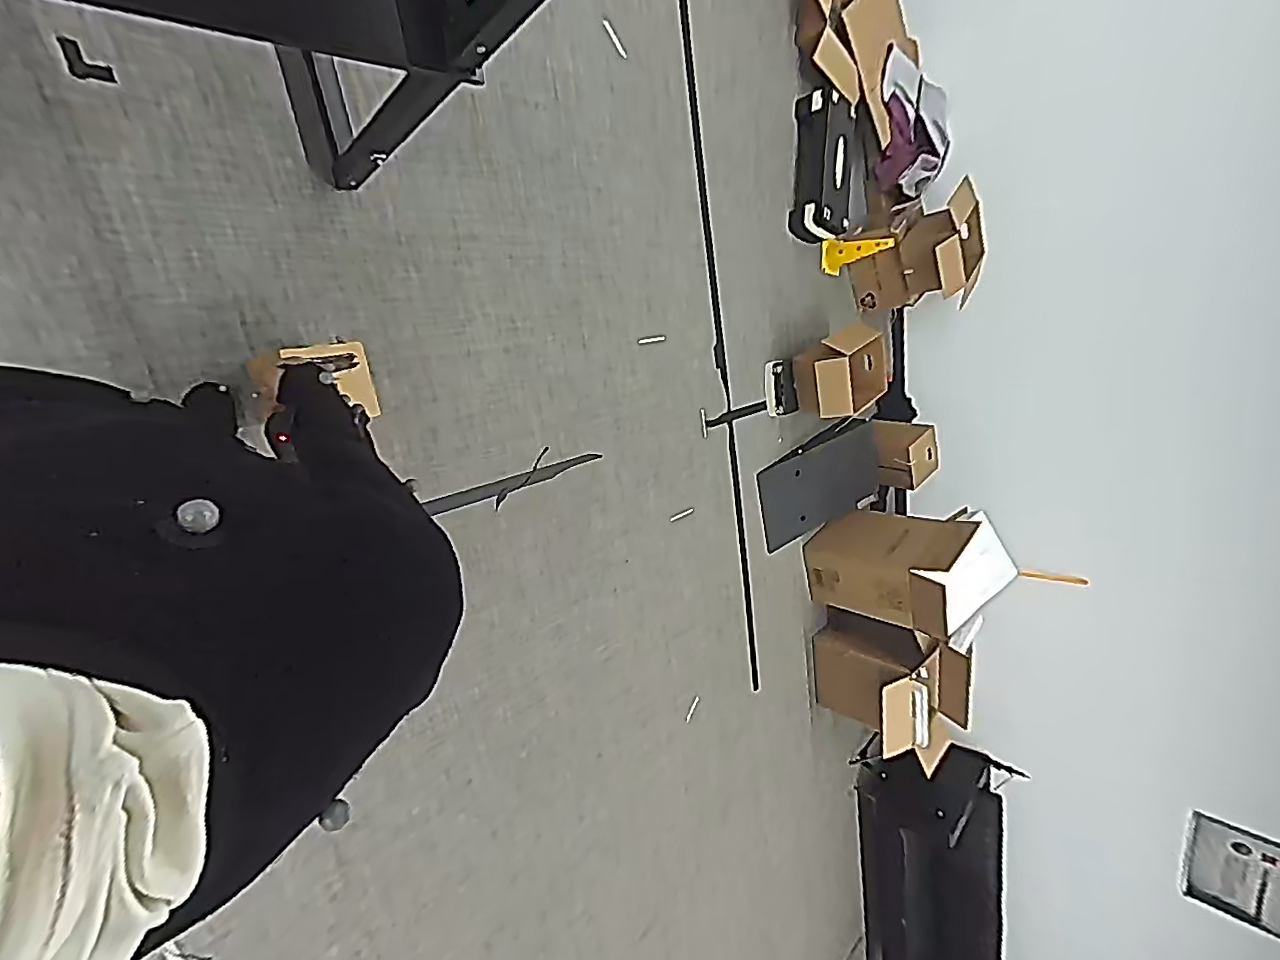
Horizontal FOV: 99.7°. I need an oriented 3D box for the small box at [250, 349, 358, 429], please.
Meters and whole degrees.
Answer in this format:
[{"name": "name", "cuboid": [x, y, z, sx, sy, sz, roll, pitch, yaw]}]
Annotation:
[{"name": "small box", "cuboid": [-0.846, -0.231, 1.361, 0.179, 0.176, 0.168, -23, 111, -38]}]
